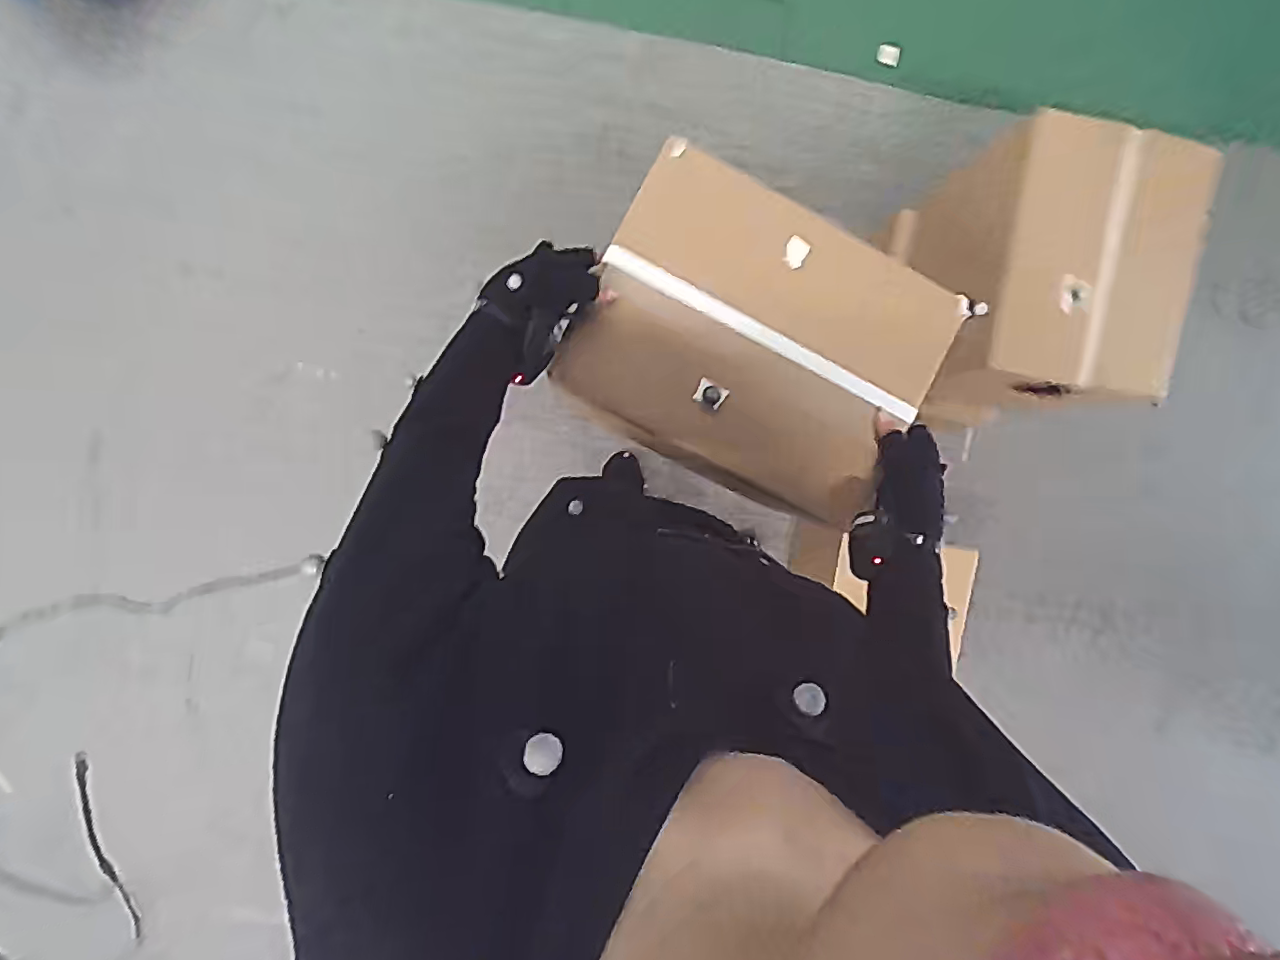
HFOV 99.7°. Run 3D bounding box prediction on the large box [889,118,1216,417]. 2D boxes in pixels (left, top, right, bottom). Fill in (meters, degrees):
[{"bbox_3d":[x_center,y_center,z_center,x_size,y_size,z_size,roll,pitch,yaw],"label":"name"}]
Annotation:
[{"bbox_3d":[0.716,-0.346,0.997,0.320,0.320,0.408,11,93,-6],"label":"large box"}]
